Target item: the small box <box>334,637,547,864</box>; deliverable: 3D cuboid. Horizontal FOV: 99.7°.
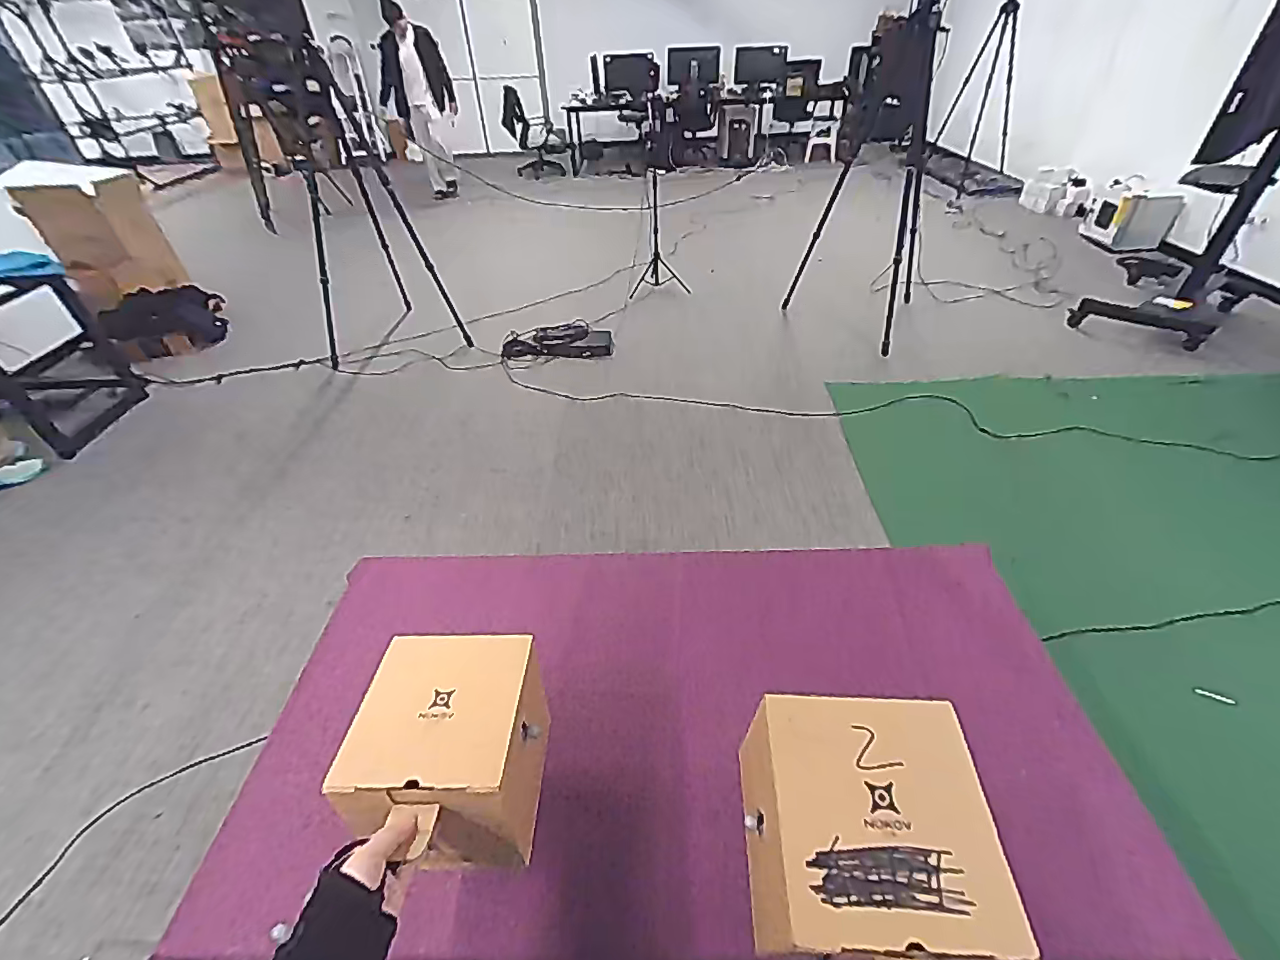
[{"bbox_3d":[-0.206,0.303,0.620,0.168,0.176,0.179,-1,35,2],"label":"small box"}]
